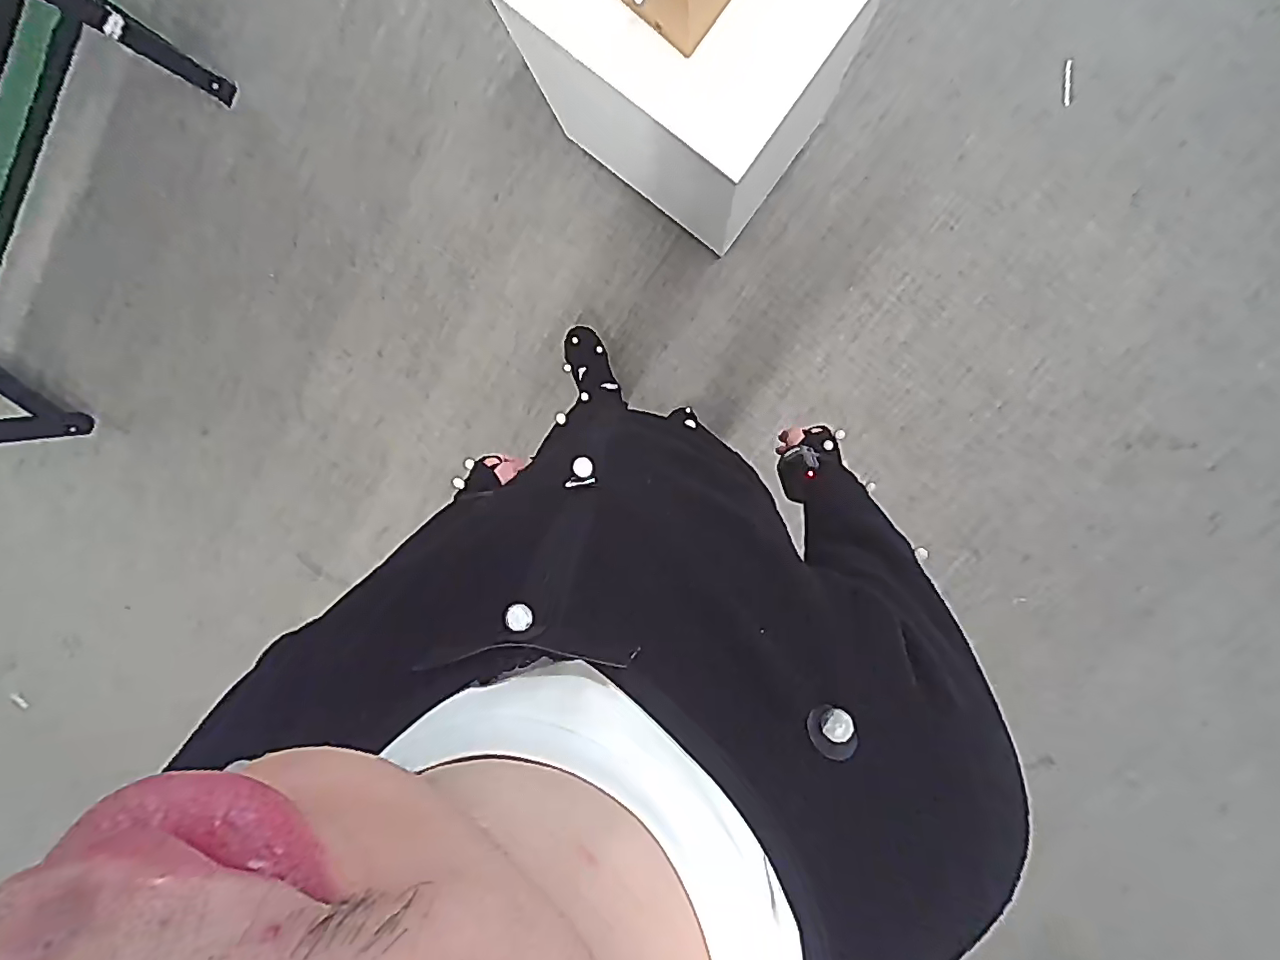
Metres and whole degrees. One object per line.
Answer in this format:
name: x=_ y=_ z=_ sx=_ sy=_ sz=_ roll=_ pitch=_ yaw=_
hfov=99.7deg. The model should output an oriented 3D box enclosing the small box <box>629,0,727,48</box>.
small box: x=0.059 y=-0.756 z=0.737 sx=0.168 sy=0.176 sz=0.179 roll=37 pitch=101 yaw=-1
